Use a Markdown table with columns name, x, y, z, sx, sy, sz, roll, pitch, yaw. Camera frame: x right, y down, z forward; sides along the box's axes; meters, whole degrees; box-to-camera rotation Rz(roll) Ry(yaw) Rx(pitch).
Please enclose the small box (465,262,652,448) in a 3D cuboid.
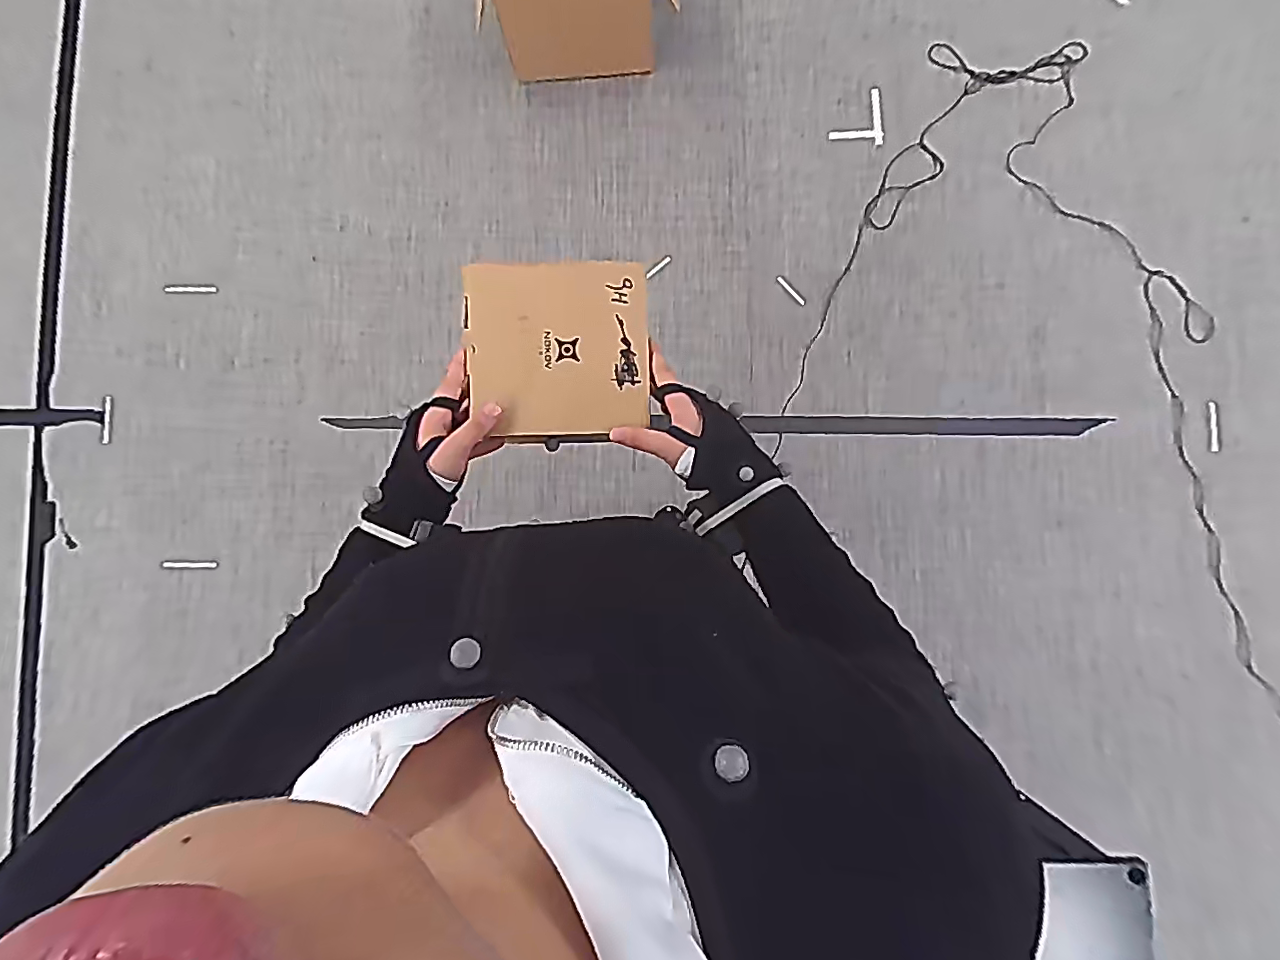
| name | x | y | z | sx | sy | sz | roll | pitch | yaw |
| --- | --- | --- | --- | --- | --- | --- | --- | --- | --- |
| small box | -0.078 | -0.122 | 0.588 | 0.179 | 0.176 | 0.168 | -1 | 90 | -2 |
